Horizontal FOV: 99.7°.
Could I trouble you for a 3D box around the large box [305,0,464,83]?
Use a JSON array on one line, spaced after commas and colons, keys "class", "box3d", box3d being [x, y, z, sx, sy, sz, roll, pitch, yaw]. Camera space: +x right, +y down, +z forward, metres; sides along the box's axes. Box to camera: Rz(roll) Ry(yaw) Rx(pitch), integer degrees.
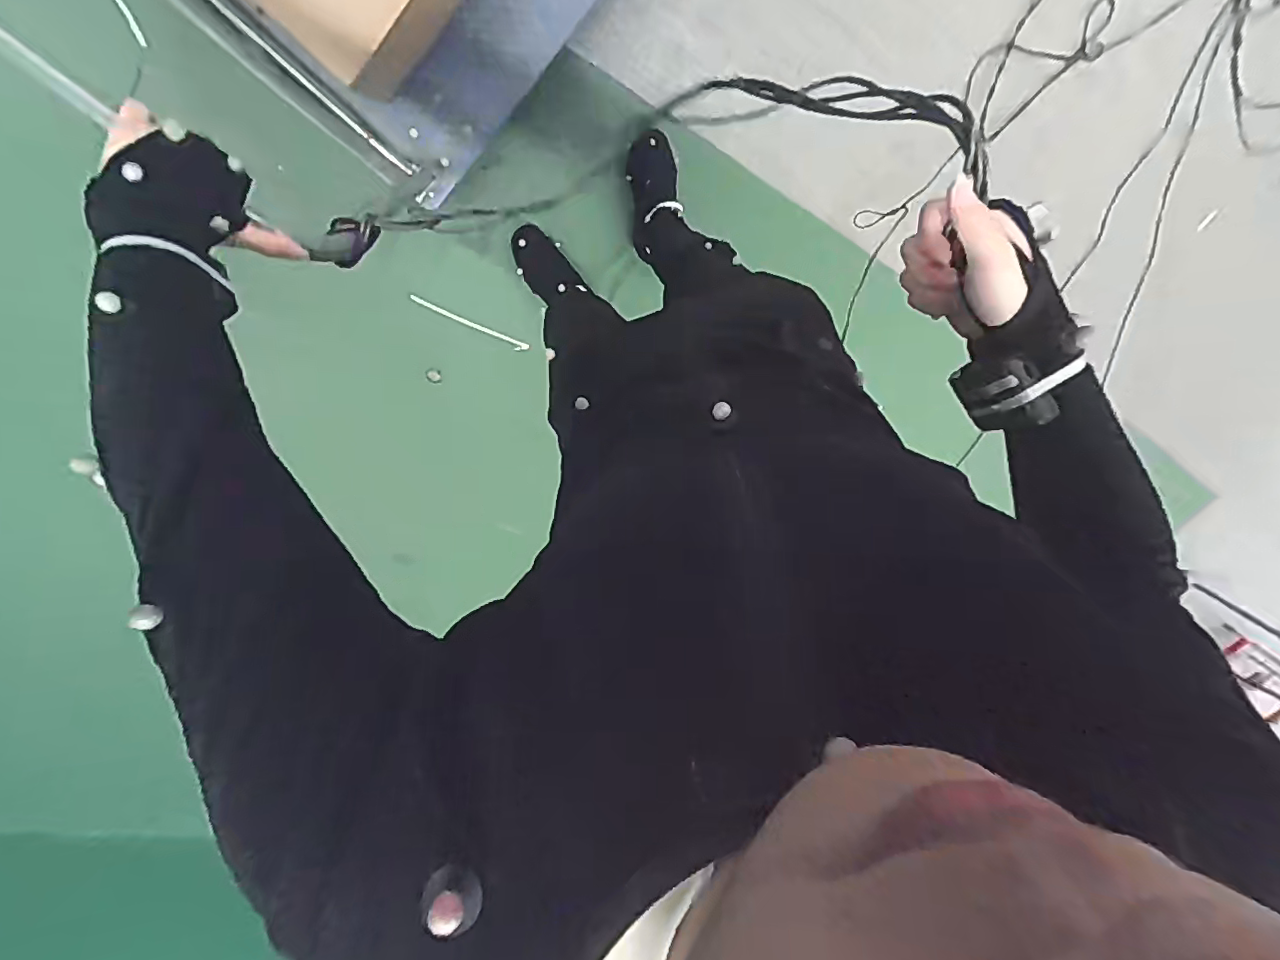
[{"class": "large box", "box3d": [-0.381, -0.881, 0.771, 0.408, 0.320, 0.320, -42, 121, 12]}]
